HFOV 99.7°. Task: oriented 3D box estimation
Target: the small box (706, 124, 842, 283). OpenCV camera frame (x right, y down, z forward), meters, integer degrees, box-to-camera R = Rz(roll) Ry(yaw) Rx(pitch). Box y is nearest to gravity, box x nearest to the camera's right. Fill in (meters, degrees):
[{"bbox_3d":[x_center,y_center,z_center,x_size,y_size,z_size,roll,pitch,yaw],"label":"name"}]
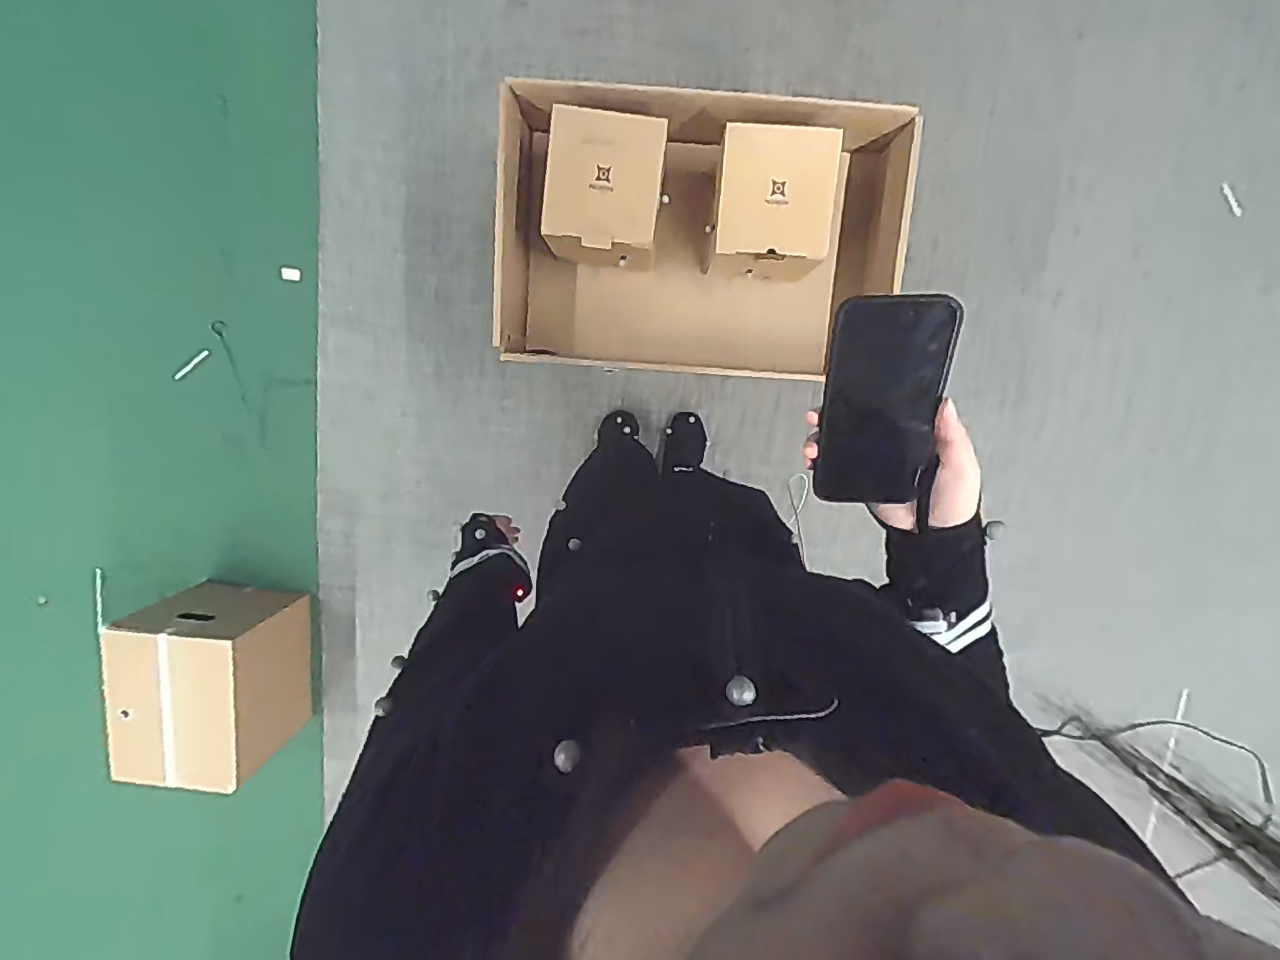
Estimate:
[{"bbox_3d":[0.197,-0.421,0.847,0.168,0.176,0.179,4,101,2],"label":"small box"}]
